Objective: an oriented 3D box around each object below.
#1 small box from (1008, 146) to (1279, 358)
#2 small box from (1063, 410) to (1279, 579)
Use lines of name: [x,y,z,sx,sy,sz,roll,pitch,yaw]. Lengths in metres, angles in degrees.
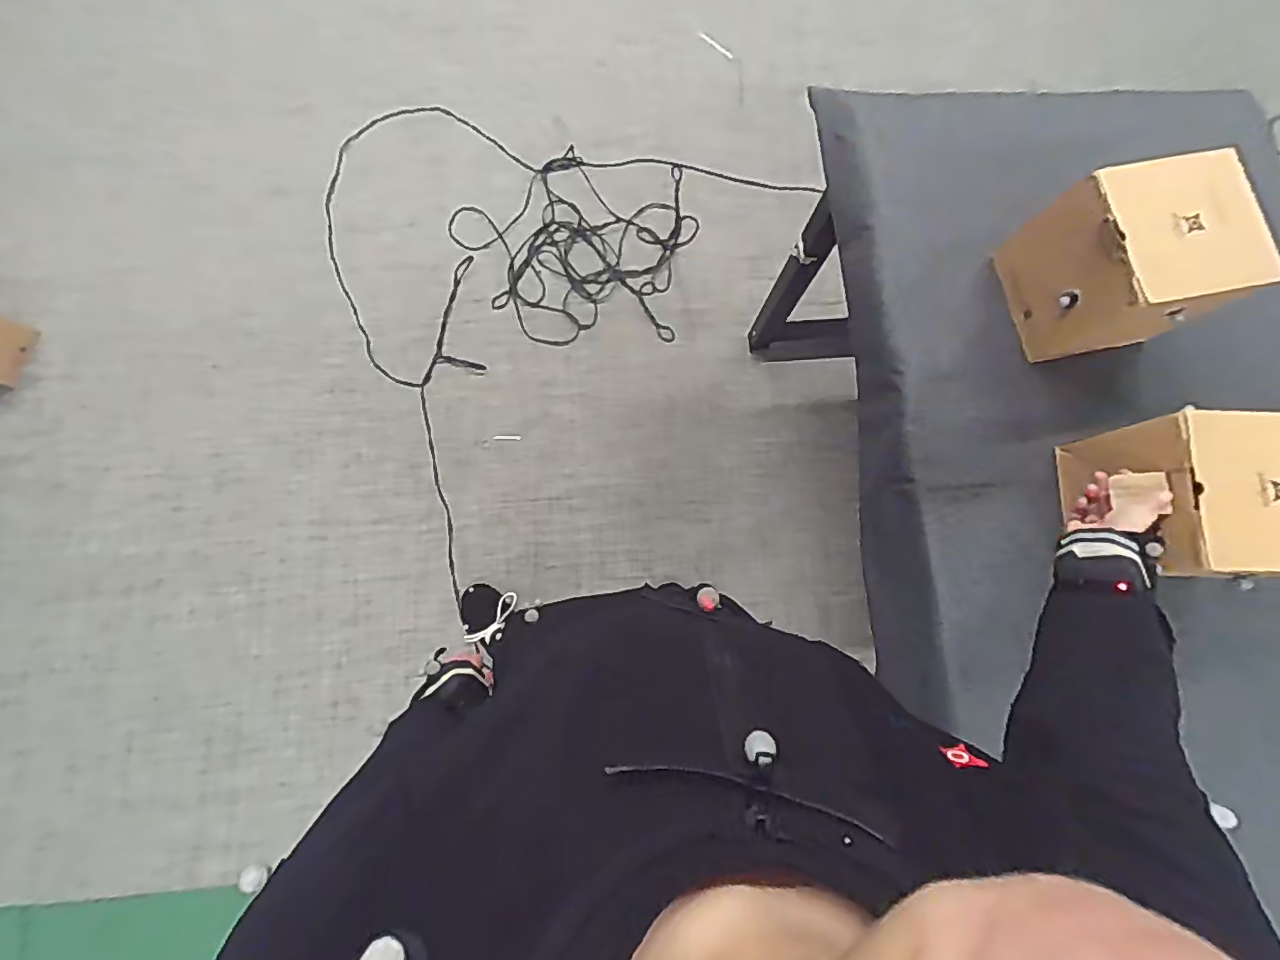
small box: [0.593,-0.264,0.660,0.179,0.176,0.168,-11,82,-6]
small box: [0.632,0.026,0.607,0.179,0.176,0.168,0,80,-2]
